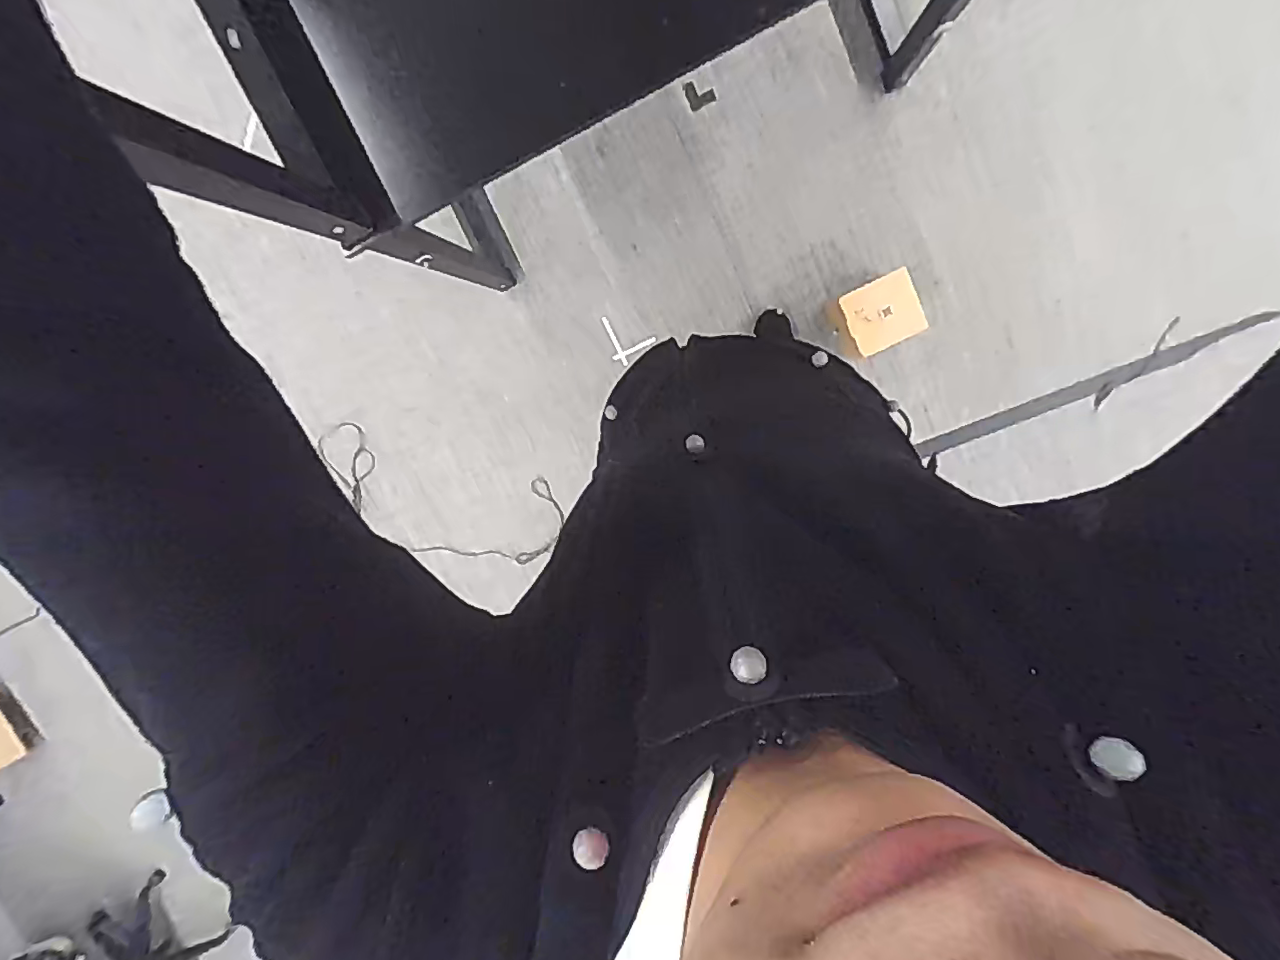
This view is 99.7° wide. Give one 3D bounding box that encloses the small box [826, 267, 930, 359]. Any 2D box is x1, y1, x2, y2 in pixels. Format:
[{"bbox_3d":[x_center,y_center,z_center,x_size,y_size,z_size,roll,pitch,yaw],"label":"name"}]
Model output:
[{"bbox_3d":[0.615,-0.432,1.416,0.179,0.176,0.168,-25,99,11],"label":"small box"}]
